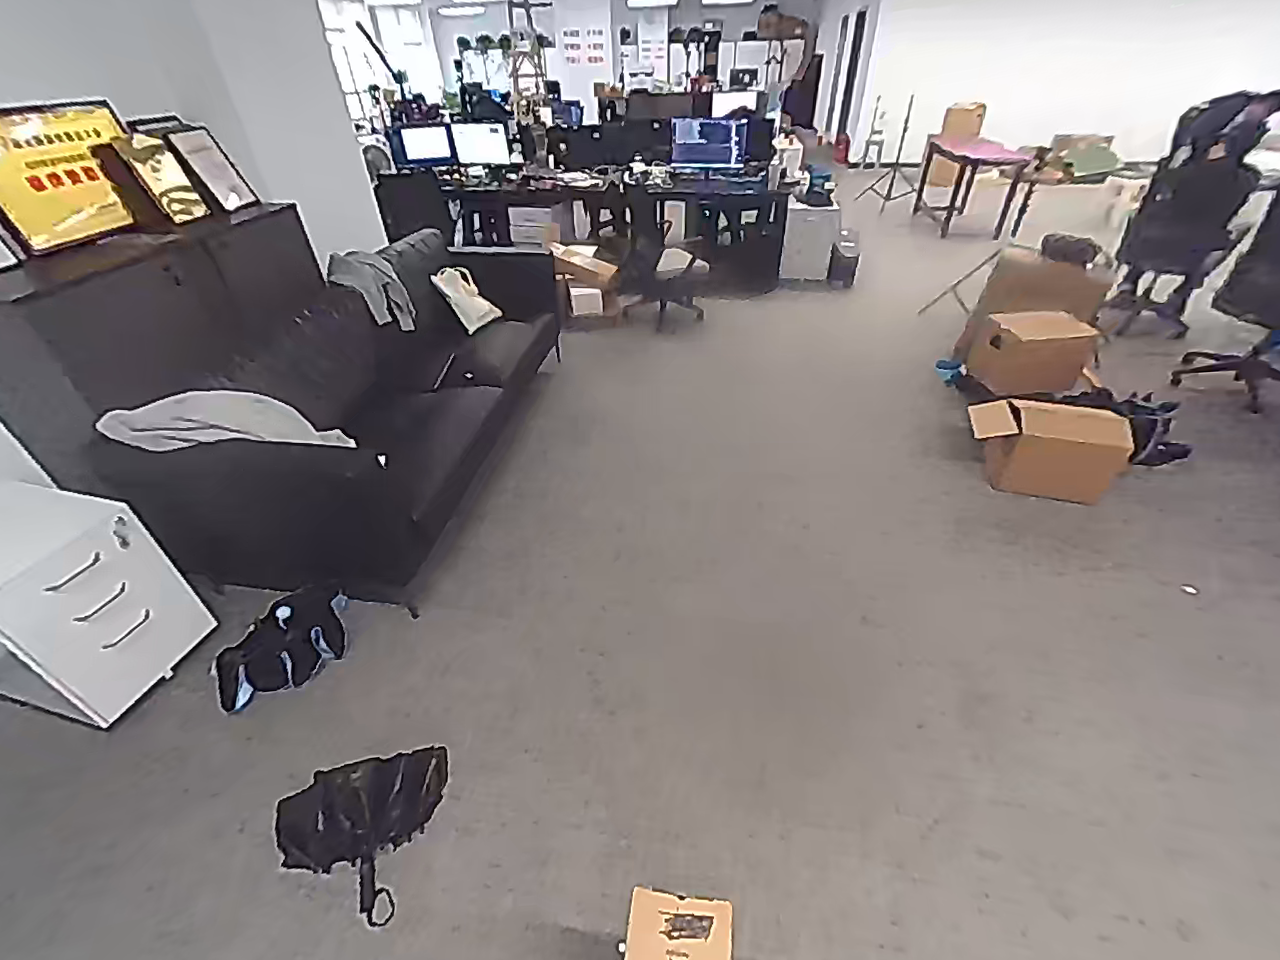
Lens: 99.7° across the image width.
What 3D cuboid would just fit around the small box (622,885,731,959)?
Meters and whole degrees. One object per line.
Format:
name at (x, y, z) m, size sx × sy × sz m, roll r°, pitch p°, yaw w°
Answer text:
small box at (0.054, 0.792, 0.867) m, size 0.168 × 0.176 × 0.179 m, roll 5°, pitch 40°, yaw 7°
